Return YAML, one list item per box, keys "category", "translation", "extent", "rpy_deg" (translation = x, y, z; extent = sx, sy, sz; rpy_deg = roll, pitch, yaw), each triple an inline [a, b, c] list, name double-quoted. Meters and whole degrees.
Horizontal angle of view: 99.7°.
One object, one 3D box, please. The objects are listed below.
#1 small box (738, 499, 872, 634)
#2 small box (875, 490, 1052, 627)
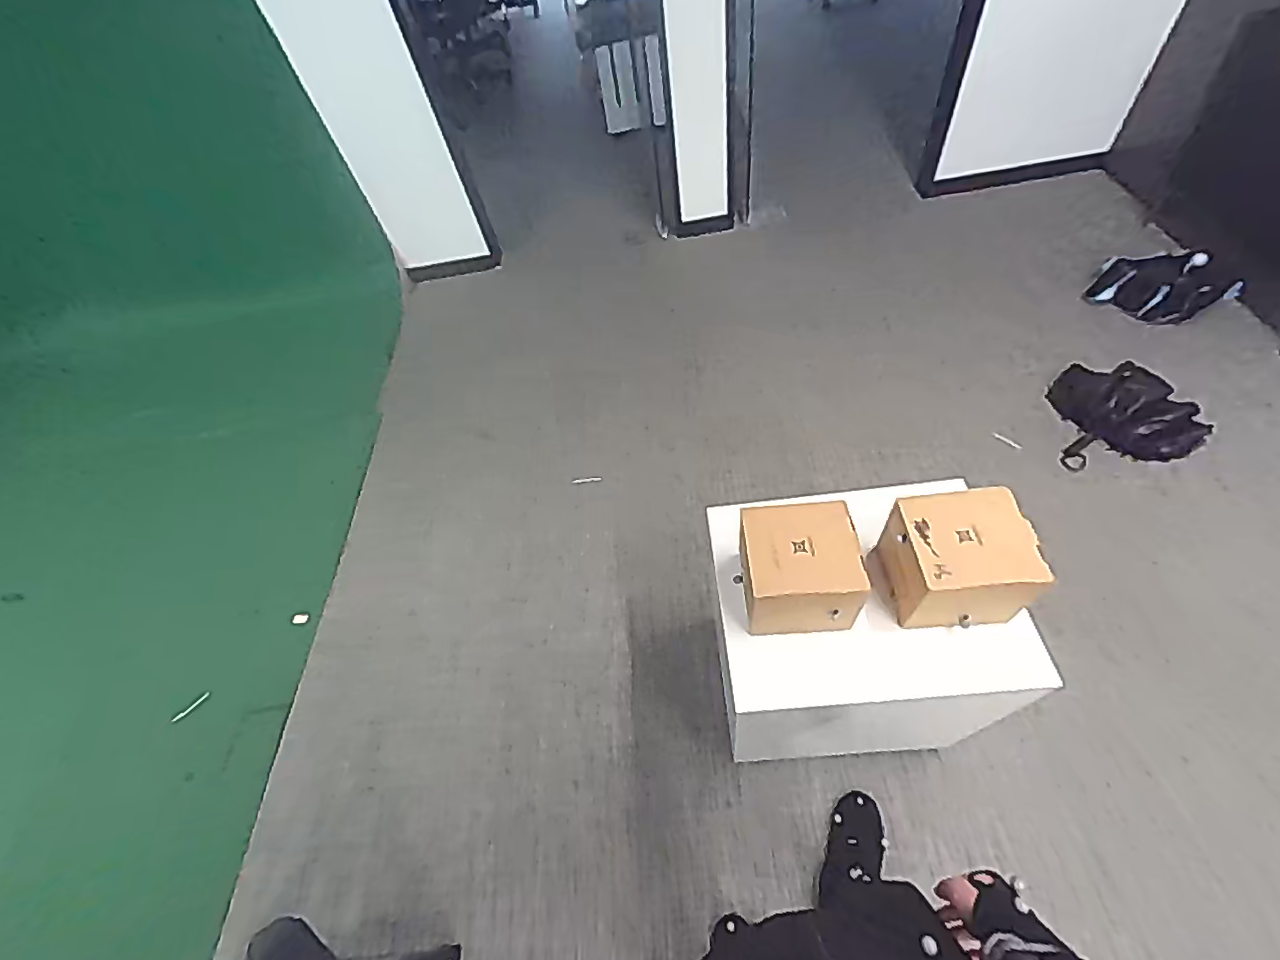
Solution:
- category: "small box"
  translation: [0.264, 0.149, 0.912]
  extent: [0.179, 0.176, 0.168]
  rpy_deg: [-5, 54, 5]
- category: "small box"
  translation: [0.512, 0.133, 0.887]
  extent: [0.179, 0.176, 0.168]
  rpy_deg: [-5, 55, 5]
